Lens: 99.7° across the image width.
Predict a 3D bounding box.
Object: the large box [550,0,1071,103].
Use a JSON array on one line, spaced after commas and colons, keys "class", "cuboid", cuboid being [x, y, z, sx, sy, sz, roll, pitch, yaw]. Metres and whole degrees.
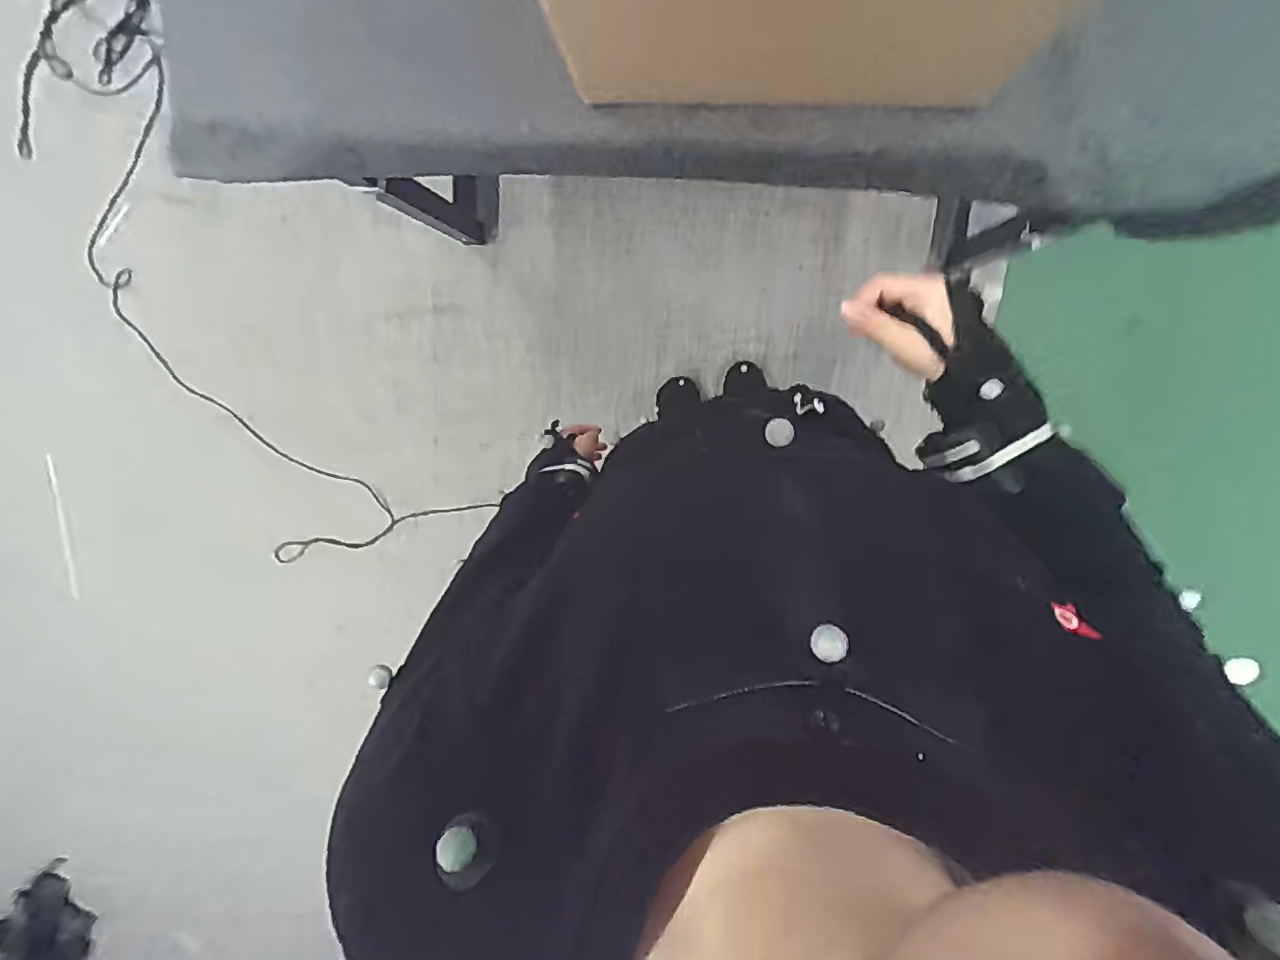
[{"class": "large box", "cuboid": [0.130, -0.509, 0.380, 0.408, 0.320, 0.320, 4, 101, 4]}]
